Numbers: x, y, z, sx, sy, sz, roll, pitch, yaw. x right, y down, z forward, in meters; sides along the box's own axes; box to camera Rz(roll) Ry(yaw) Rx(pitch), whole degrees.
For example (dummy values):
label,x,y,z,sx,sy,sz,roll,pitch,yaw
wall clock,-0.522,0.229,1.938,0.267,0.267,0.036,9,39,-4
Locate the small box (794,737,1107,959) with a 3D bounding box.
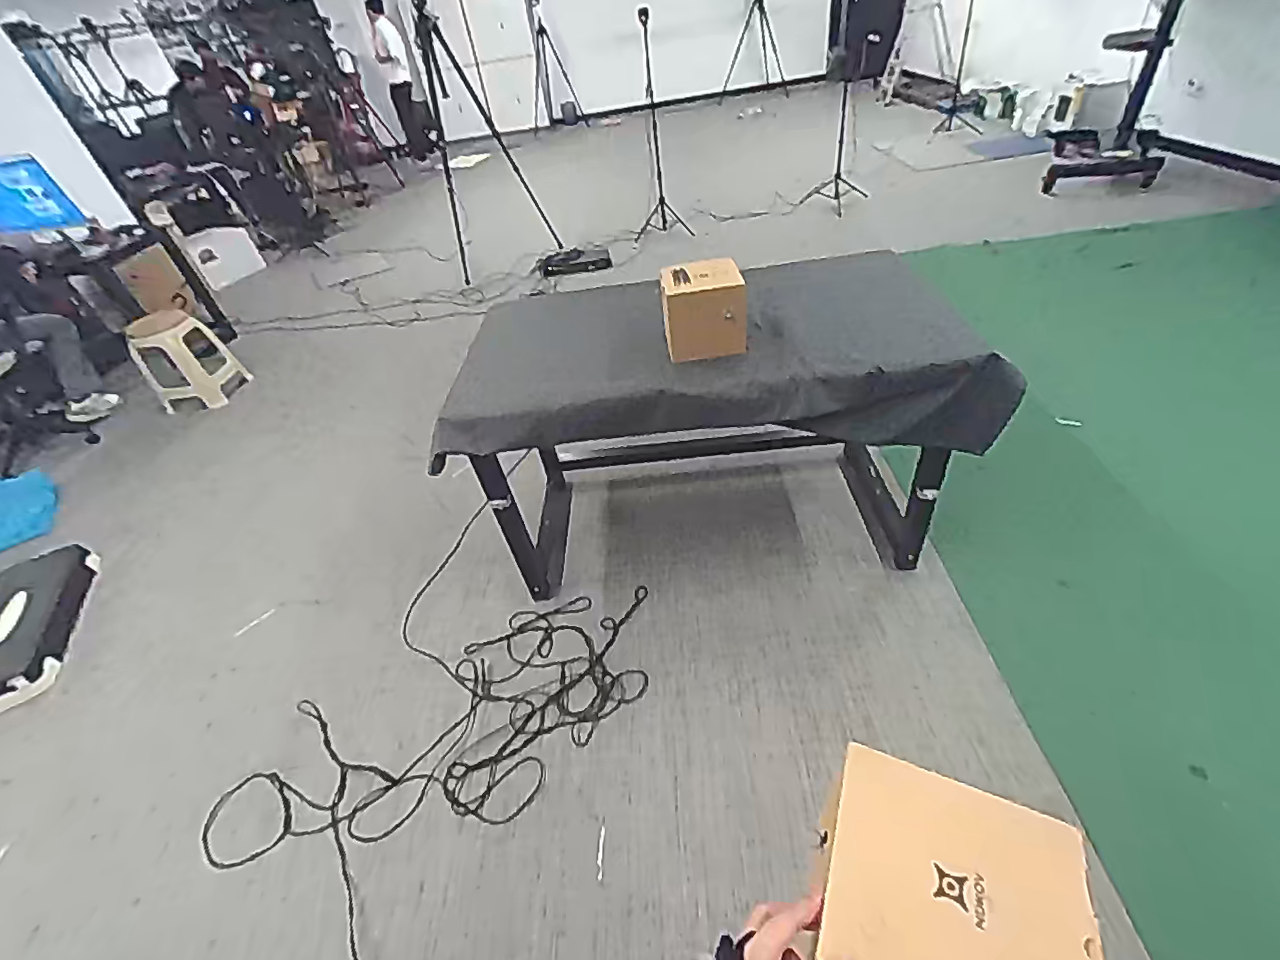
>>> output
label,x,y,z,sx,sy,sz,roll,pitch,yaw
small box,0.232,0.353,0.437,0.179,0.176,0.168,14,40,20
